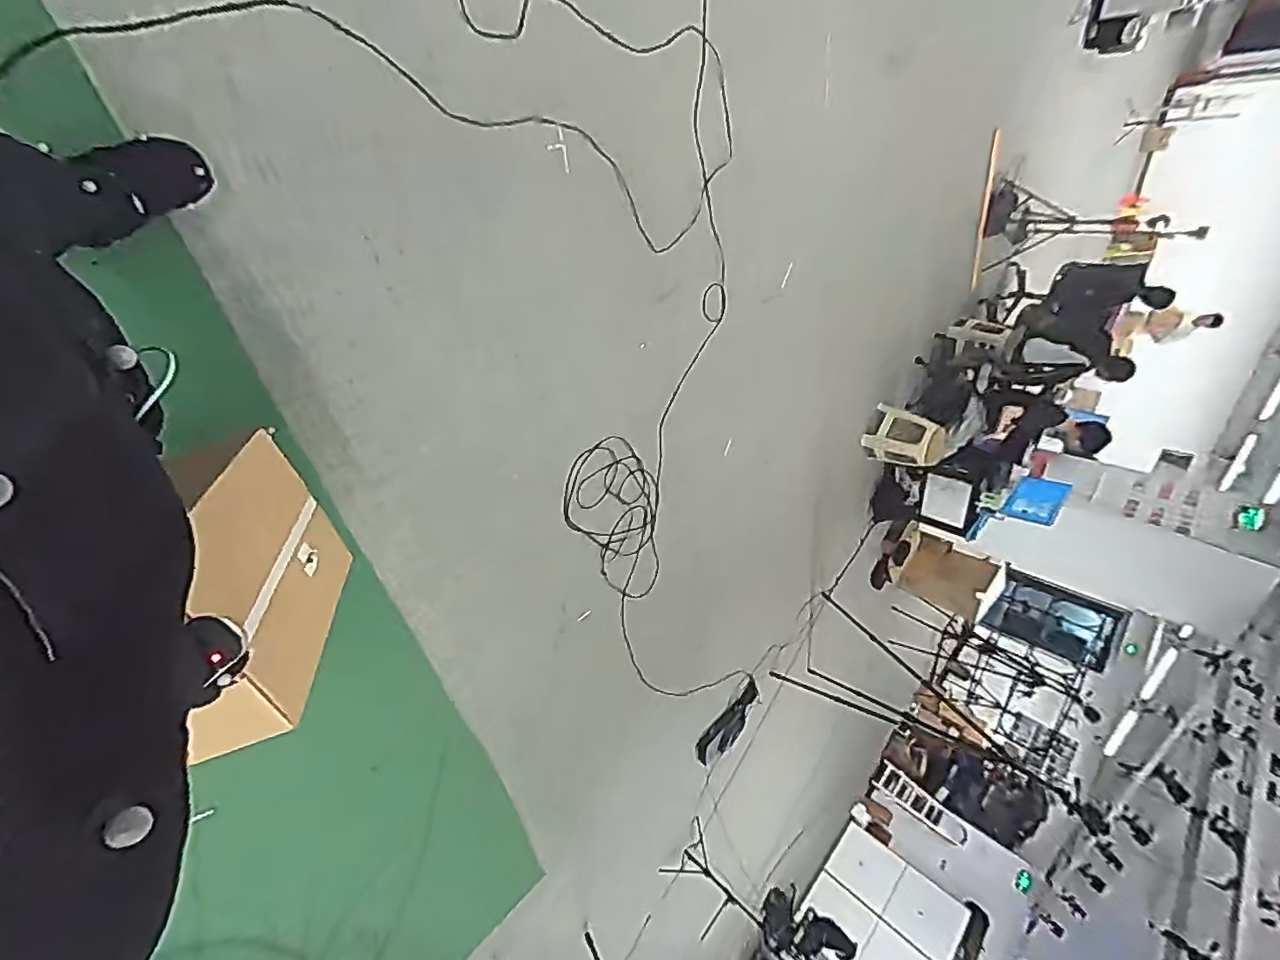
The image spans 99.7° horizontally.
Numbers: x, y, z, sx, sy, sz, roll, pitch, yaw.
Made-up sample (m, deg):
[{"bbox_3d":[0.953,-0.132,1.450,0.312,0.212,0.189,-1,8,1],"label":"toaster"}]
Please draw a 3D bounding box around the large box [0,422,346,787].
[{"bbox_3d":[-0.723,0.167,0.844,0.320,0.408,0.320,-18,123,-7],"label":"large box"}]
